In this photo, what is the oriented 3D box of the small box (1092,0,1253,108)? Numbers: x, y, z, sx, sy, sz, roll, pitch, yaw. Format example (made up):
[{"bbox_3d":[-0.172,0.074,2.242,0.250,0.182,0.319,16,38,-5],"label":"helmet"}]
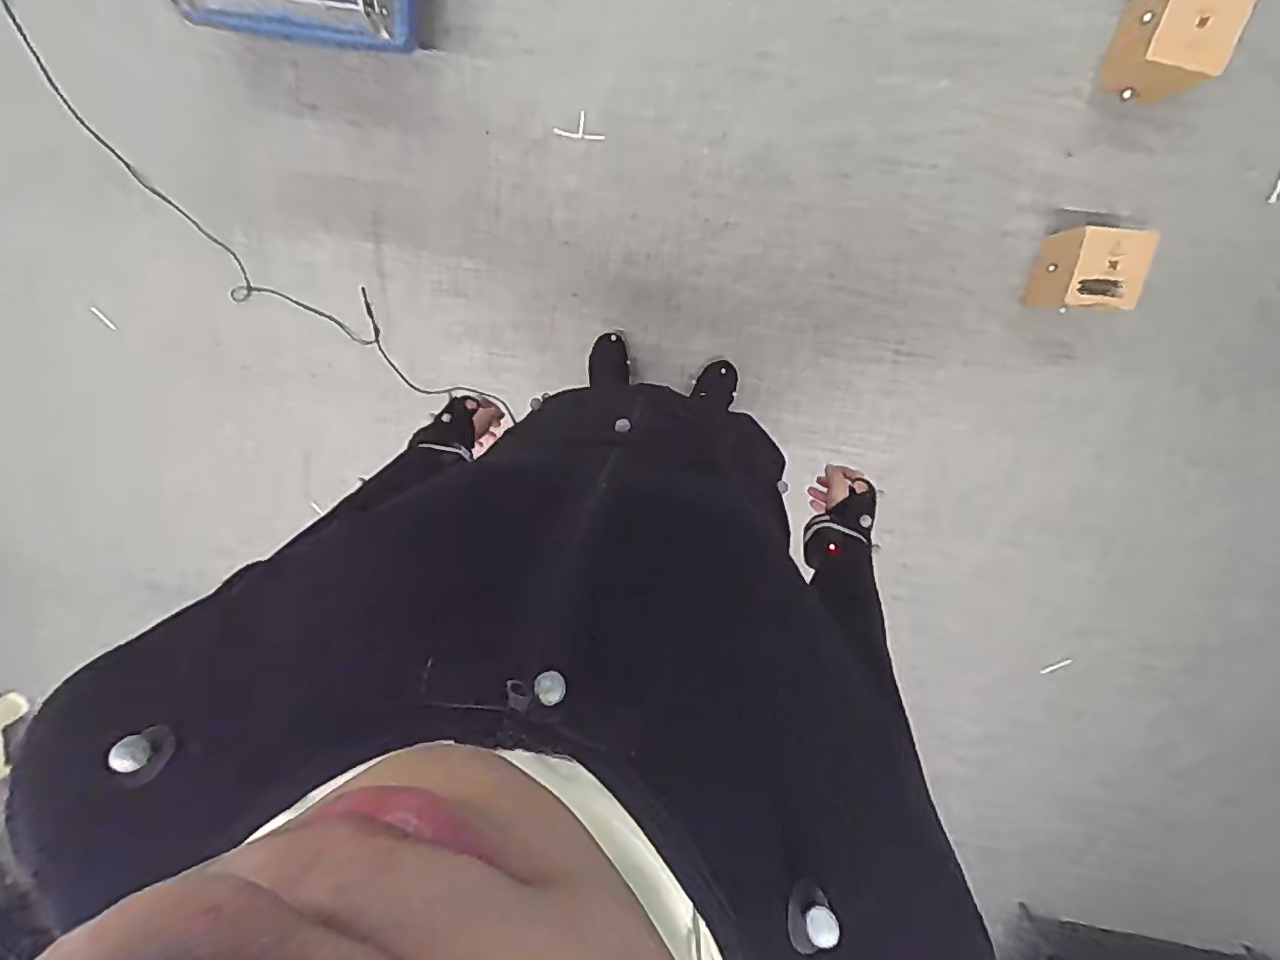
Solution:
[{"bbox_3d":[1.177,-0.978,1.209,0.168,0.176,0.179,16,106,0],"label":"small box"}]
